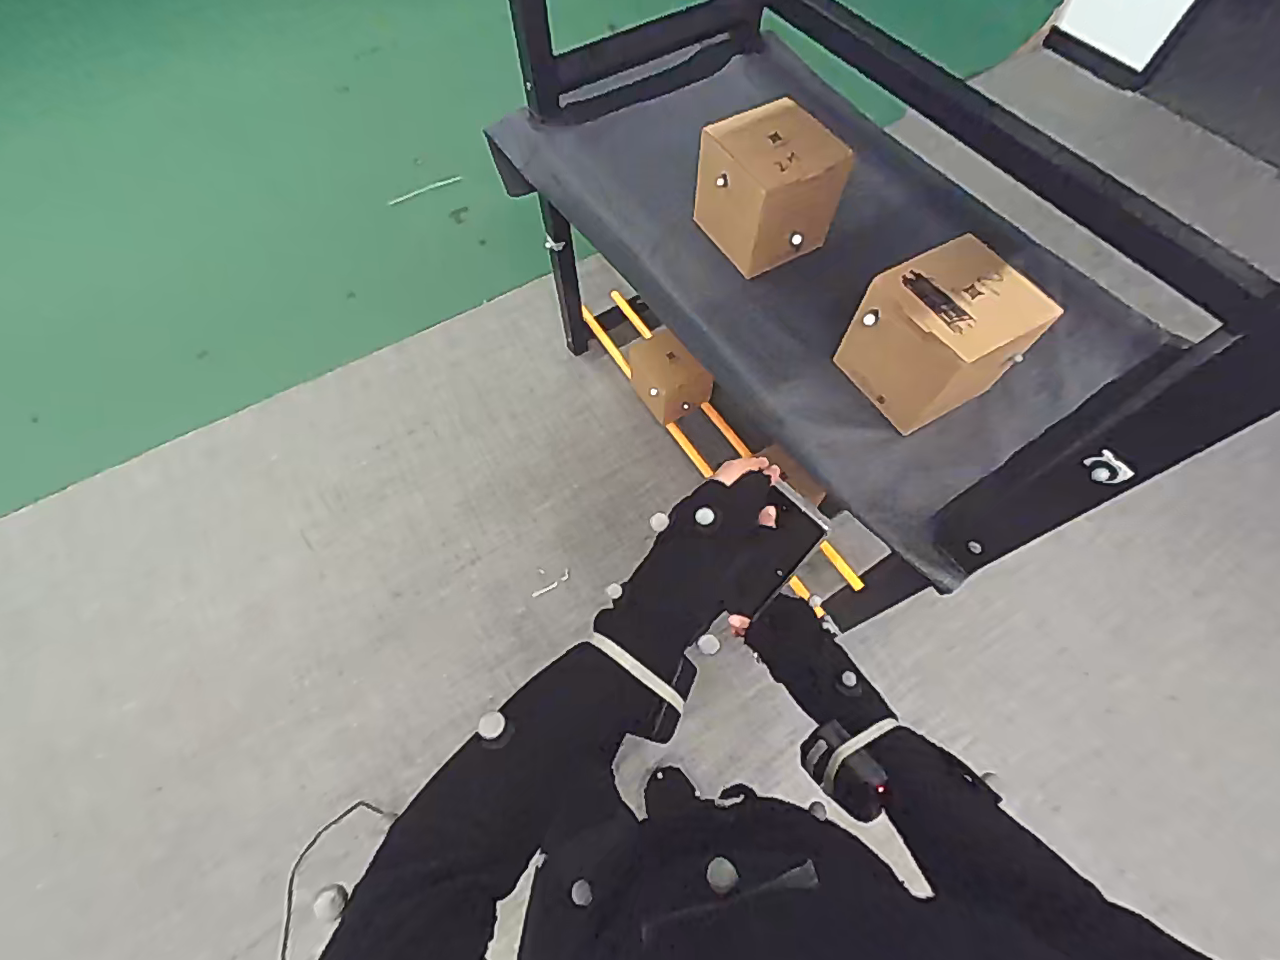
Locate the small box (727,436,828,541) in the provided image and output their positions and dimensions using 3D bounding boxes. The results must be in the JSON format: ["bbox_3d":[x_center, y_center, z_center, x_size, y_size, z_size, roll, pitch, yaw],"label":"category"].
[{"bbox_3d":[0.330,0.028,1.347,0.179,0.176,0.168,-27,67,-12],"label":"small box"}]

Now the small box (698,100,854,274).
[{"bbox_3d":[0.212,-0.484,0.903,0.168,0.176,0.179,-27,67,-12],"label":"small box"}]
